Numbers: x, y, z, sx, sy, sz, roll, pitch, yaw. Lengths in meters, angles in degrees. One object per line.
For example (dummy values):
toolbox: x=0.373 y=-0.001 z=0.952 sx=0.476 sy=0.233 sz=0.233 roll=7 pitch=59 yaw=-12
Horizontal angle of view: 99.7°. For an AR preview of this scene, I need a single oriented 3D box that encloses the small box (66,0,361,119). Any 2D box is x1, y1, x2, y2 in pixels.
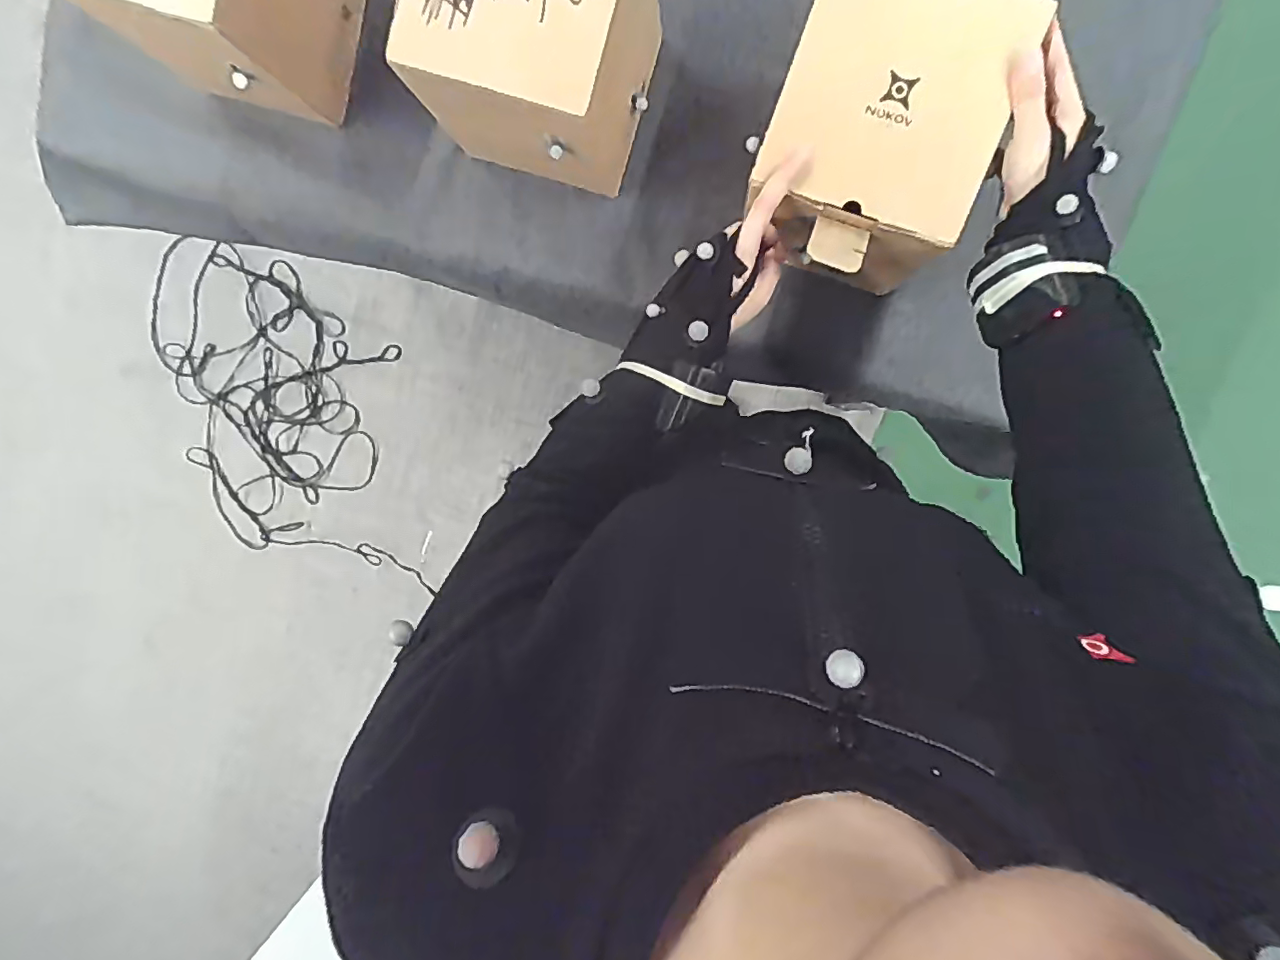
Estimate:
small box: x=-0.403 y=-0.487 z=0.520 sx=0.179 sy=0.176 sz=0.168 roll=17 pitch=98 yaw=5
